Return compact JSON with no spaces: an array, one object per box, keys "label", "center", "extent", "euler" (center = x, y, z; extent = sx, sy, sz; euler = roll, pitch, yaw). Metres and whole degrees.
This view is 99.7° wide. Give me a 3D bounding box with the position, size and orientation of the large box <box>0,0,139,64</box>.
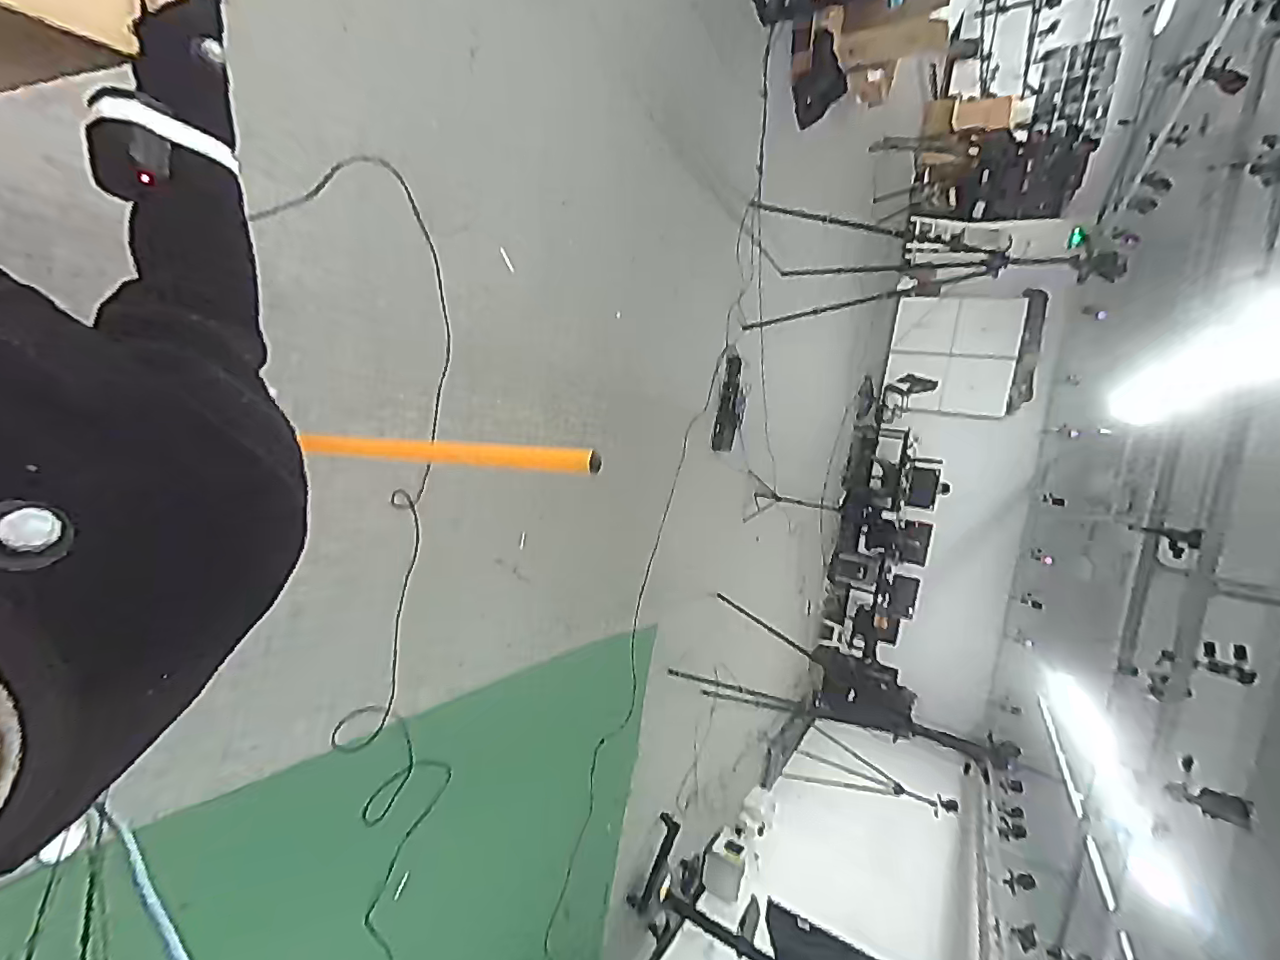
[{"label":"large box","center":[-0.584,-0.473,0.263],"extent":[0.408,0.320,0.320],"euler":[-22,122,-61]}]
